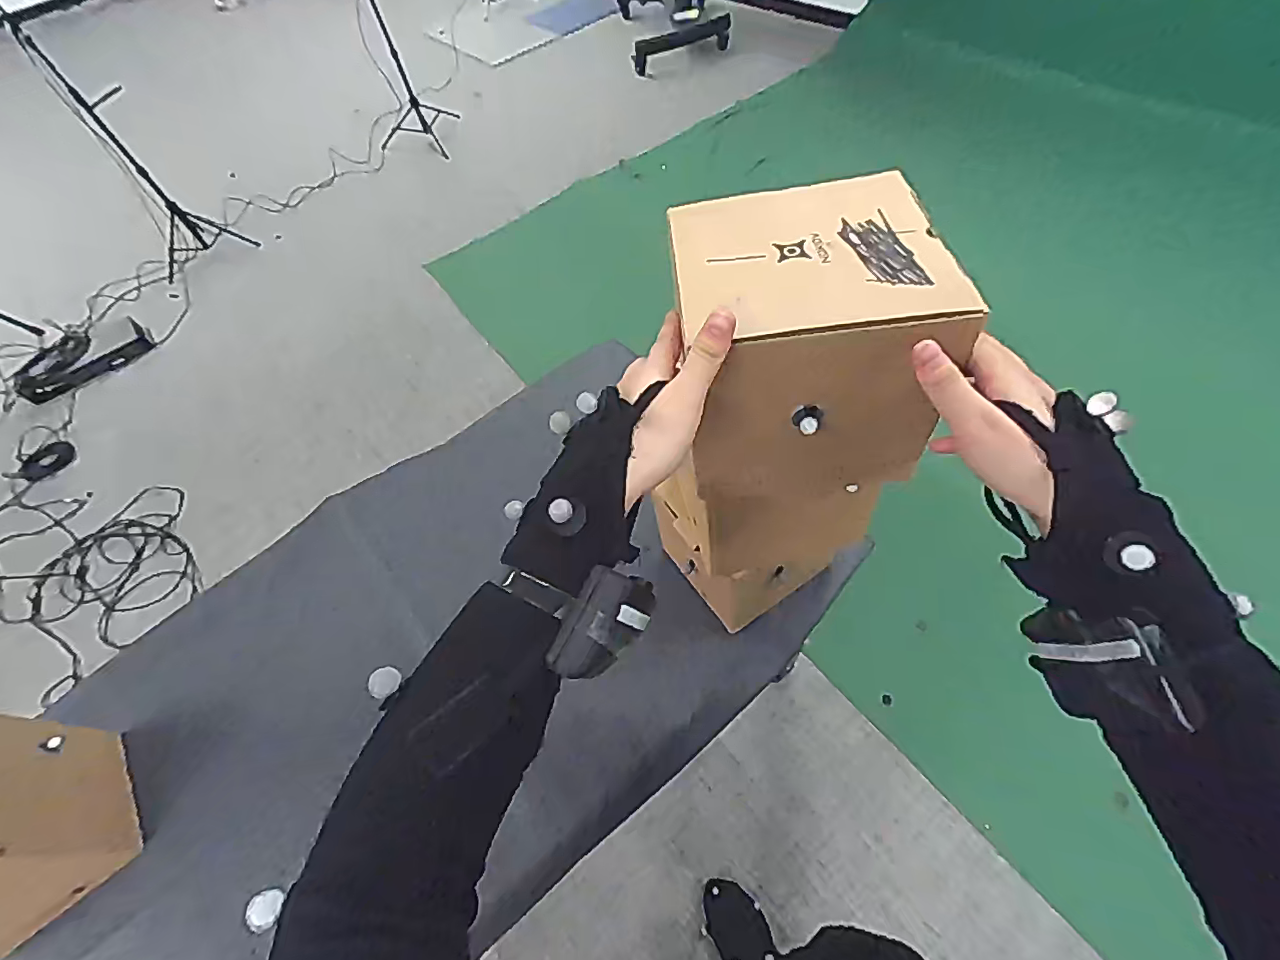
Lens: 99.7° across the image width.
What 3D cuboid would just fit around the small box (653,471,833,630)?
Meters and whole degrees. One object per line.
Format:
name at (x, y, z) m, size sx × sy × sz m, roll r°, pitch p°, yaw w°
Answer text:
small box at (0.142, 0.065, 0.704) m, size 0.179 × 0.176 × 0.168 m, roll -32°, pitch 56°, yaw -12°

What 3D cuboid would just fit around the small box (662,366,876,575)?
small box at (0.132, -0.020, 0.564) m, size 0.179 × 0.176 × 0.168 m, roll -14°, pitch 53°, yaw -1°

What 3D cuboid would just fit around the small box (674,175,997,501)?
small box at (0.123, -0.099, 0.418) m, size 0.179 × 0.176 × 0.168 m, roll -6°, pitch 54°, yaw 6°
